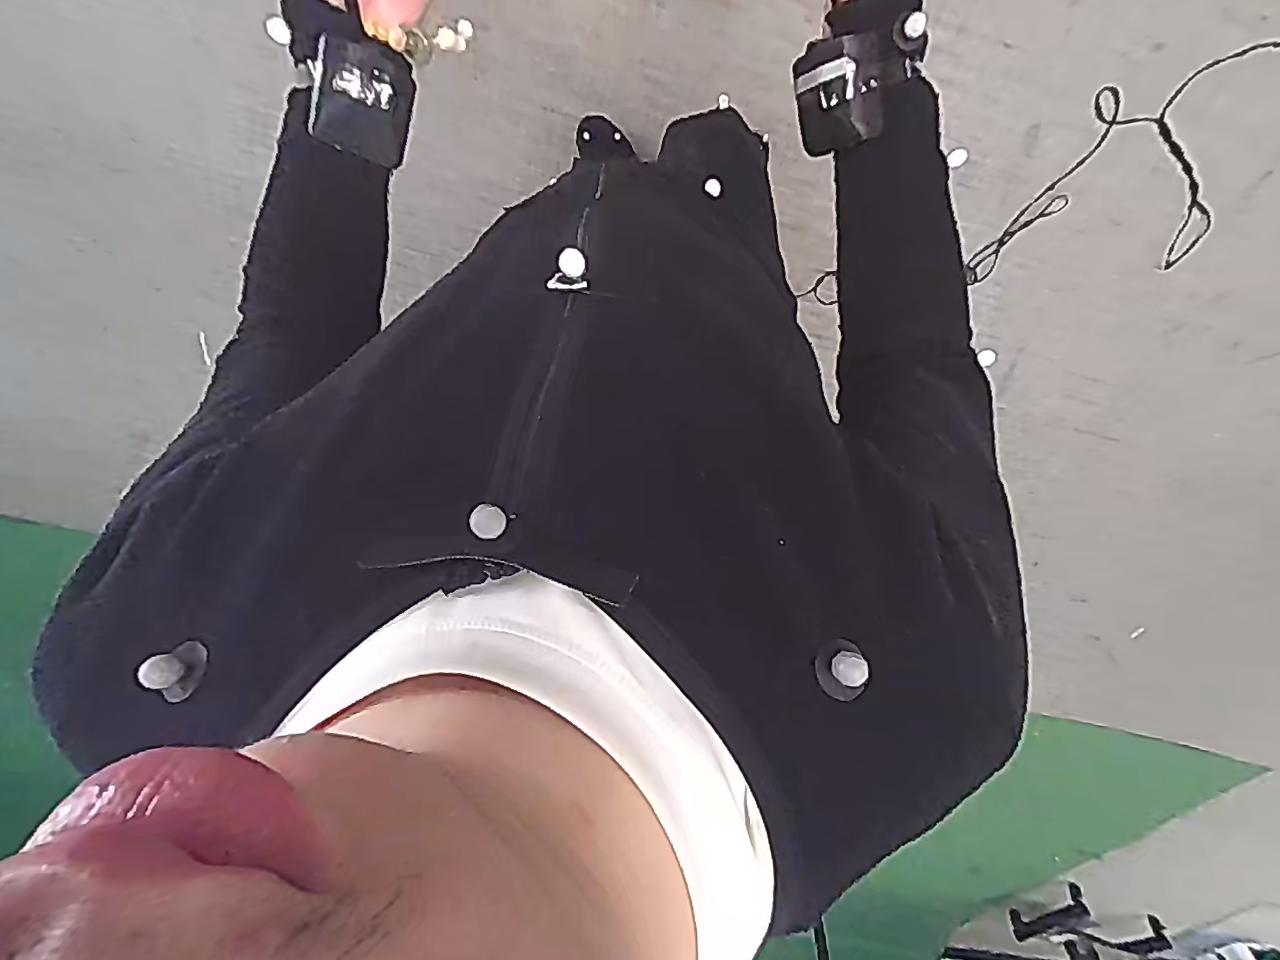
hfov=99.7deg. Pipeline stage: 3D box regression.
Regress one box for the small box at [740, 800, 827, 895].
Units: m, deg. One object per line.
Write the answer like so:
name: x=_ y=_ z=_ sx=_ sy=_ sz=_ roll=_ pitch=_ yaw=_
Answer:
small box: x=0.392 y=1.031 z=1.521 sx=0.168 sy=0.176 sz=0.179 roll=16 pitch=125 yaw=-10
